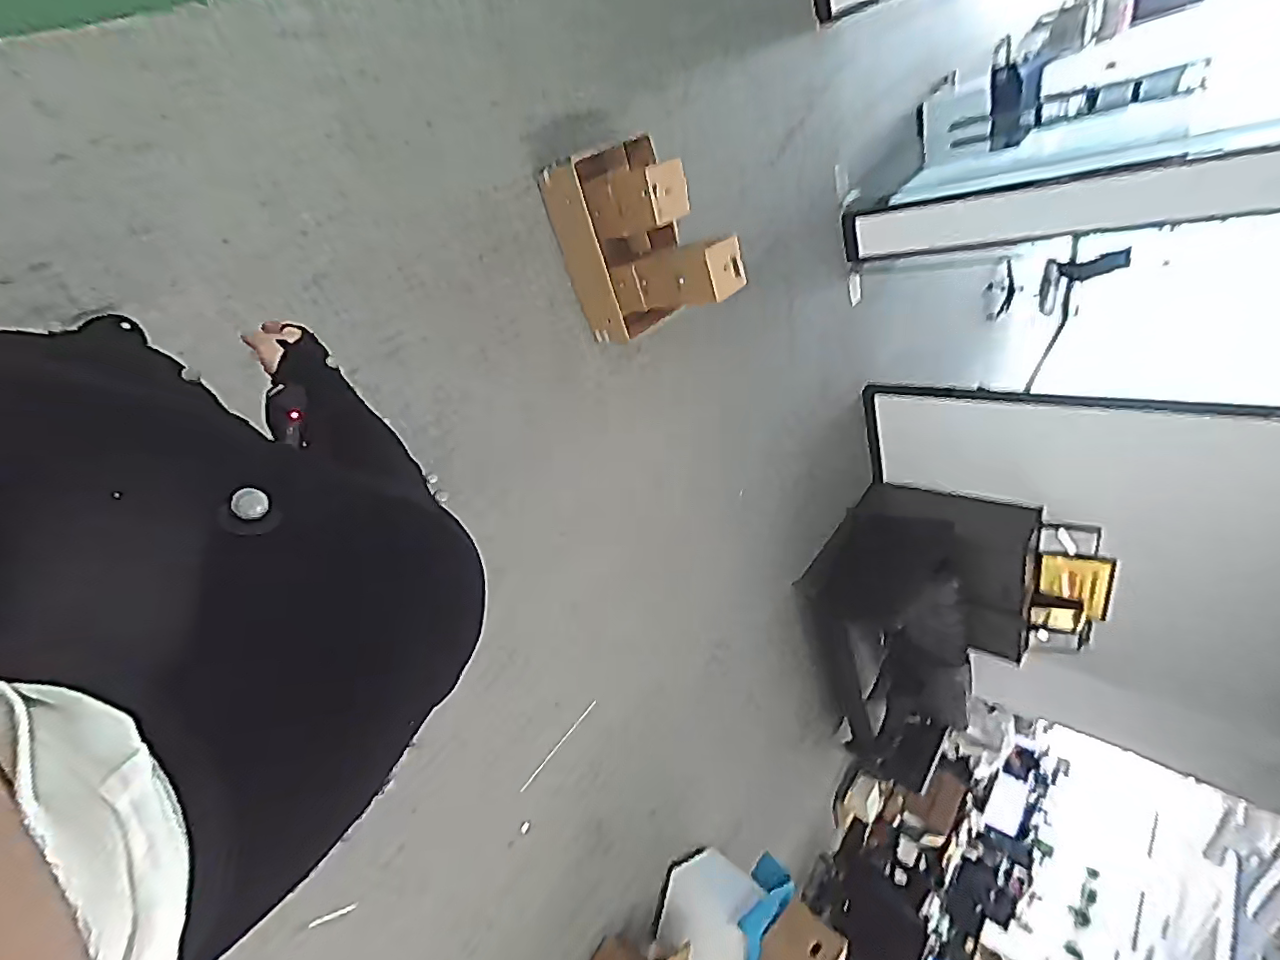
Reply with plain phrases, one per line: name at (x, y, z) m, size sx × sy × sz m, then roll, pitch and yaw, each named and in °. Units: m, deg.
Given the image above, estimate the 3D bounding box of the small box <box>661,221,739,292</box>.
small box at (0.198, -0.736, 1.785) m, size 0.179 × 0.176 × 0.168 m, roll -41°, pitch 126°, yaw -30°

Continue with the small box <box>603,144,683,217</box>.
small box at (0.011, -0.972, 1.758) m, size 0.179 × 0.176 × 0.168 m, roll -39°, pitch 126°, yaw -33°

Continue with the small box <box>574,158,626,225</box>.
small box at (-0.107, -1.000, 1.871) m, size 0.179 × 0.176 × 0.168 m, roll -43°, pitch 131°, yaw -29°

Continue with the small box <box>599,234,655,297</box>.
small box at (-0.032, -0.792, 2.012) m, size 0.179 × 0.176 × 0.168 m, roll -43°, pitch 128°, yaw -30°

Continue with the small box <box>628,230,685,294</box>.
small box at (0.086, -0.766, 1.901) m, size 0.179 × 0.176 × 0.168 m, roll -41°, pitch 126°, yaw -31°
